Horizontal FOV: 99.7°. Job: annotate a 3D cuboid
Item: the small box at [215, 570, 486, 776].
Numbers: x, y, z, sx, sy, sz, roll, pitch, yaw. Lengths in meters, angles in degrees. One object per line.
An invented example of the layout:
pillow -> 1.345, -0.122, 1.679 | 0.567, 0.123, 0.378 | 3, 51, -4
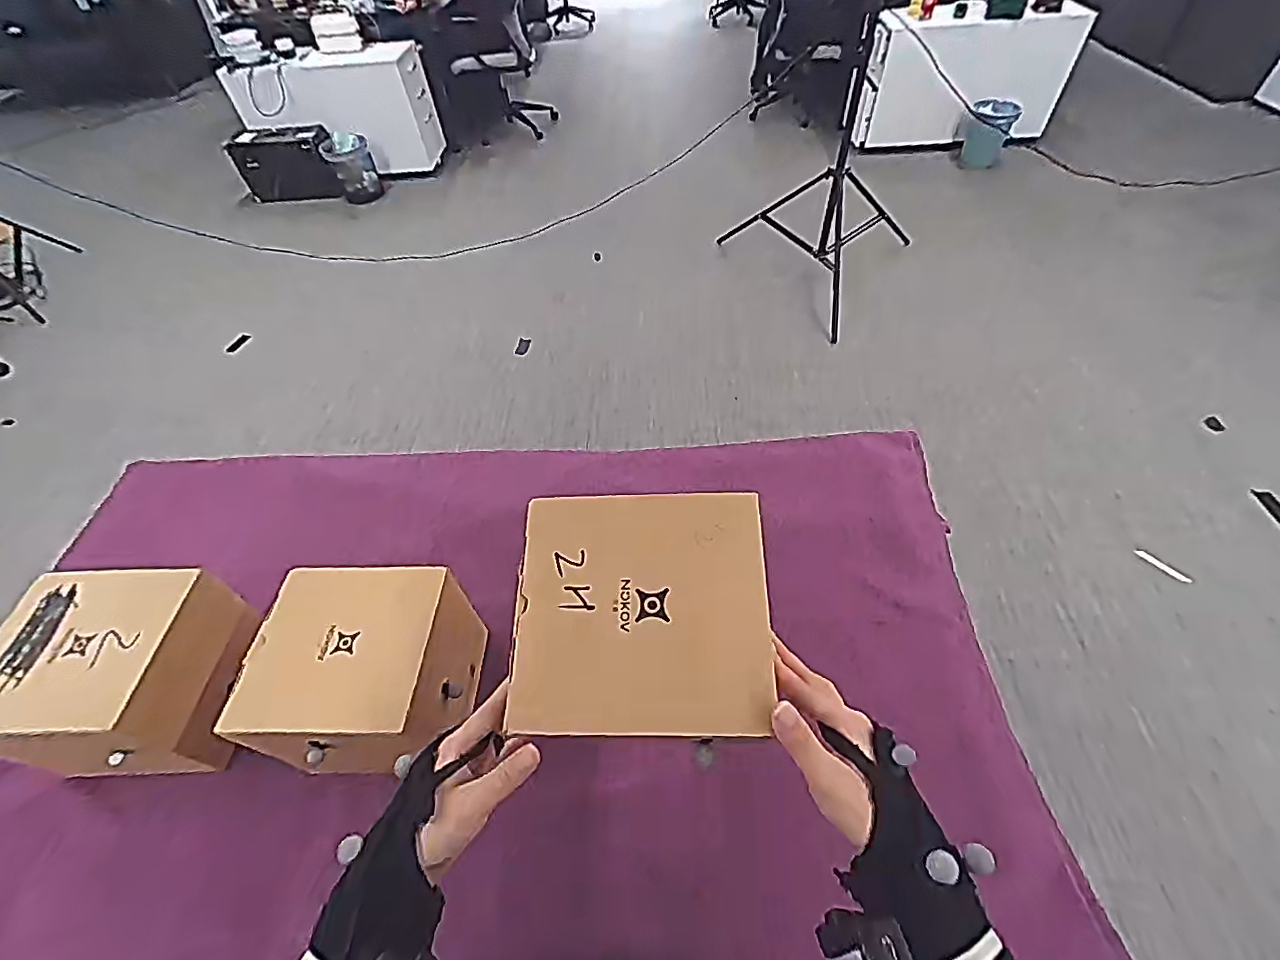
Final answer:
small box -> -0.282, 0.210, 0.581 | 0.179, 0.176, 0.168 | -2, 51, 4

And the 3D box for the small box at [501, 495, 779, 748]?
small box -> 0.007, 0.122, 0.441 | 0.179, 0.176, 0.168 | -2, 61, 5
